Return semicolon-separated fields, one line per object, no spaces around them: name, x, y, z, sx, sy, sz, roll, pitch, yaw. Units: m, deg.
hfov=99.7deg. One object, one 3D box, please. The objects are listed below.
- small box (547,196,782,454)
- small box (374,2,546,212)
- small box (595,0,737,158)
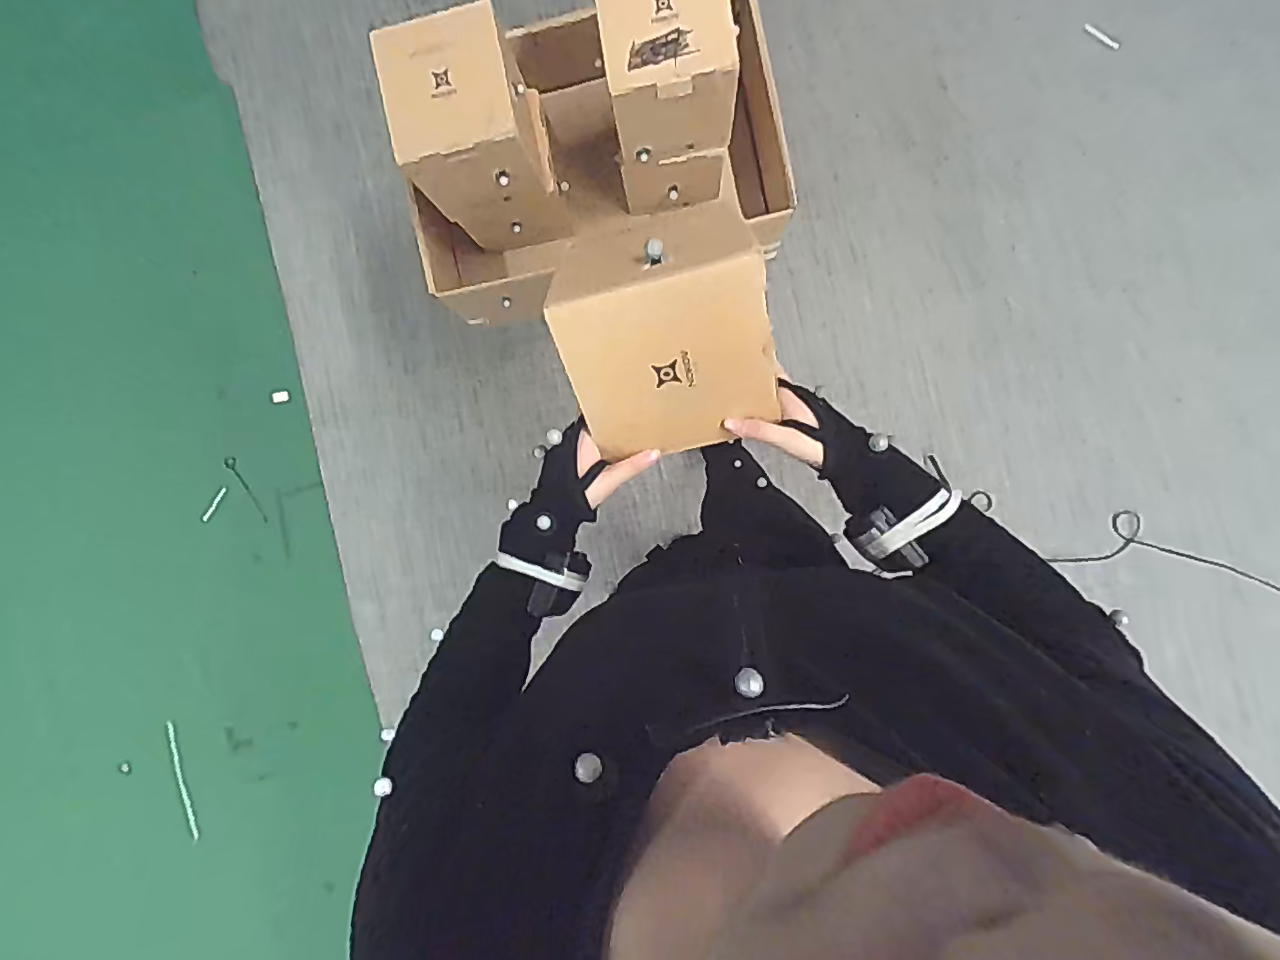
small box;0.027;-0.152;0.523;0.179;0.176;0.168;-12;129;8
small box;-0.243;-0.508;0.771;0.168;0.176;0.179;-11;90;4
small box;0.036;-0.578;0.747;0.168;0.176;0.179;-9;90;4
